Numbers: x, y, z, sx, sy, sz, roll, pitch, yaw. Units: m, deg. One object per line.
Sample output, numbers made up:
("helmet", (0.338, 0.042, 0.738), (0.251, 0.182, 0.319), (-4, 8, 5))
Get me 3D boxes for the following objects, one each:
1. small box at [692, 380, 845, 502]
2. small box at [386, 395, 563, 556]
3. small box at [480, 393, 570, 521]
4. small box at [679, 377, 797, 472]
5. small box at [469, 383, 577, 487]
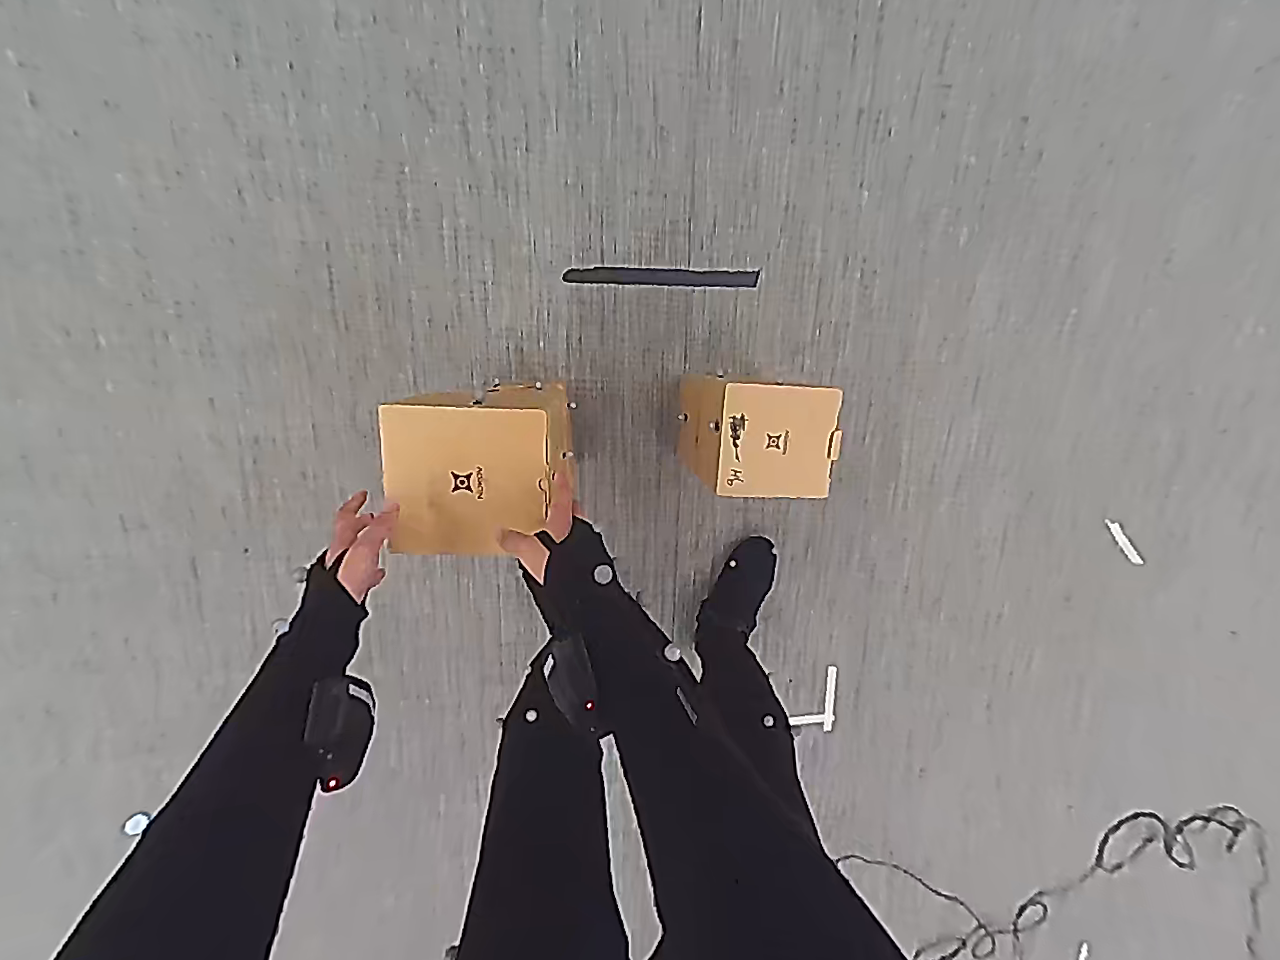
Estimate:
("small box", (0.193, -0.068, 0.859), (0.179, 0.176, 0.168), (2, 103, -8))
("small box", (-0.189, -0.014, 0.663), (0.179, 0.176, 0.168), (1, 103, -6))
("small box", (-0.195, -0.040, 0.824), (0.168, 0.176, 0.179), (-4, 104, -4))
("small box", (0.175, -0.105, 1.018), (0.179, 0.176, 0.168), (1, 104, -7))
("small box", (-0.204, -0.083, 0.982), (0.168, 0.176, 0.179), (-5, 104, -5))
